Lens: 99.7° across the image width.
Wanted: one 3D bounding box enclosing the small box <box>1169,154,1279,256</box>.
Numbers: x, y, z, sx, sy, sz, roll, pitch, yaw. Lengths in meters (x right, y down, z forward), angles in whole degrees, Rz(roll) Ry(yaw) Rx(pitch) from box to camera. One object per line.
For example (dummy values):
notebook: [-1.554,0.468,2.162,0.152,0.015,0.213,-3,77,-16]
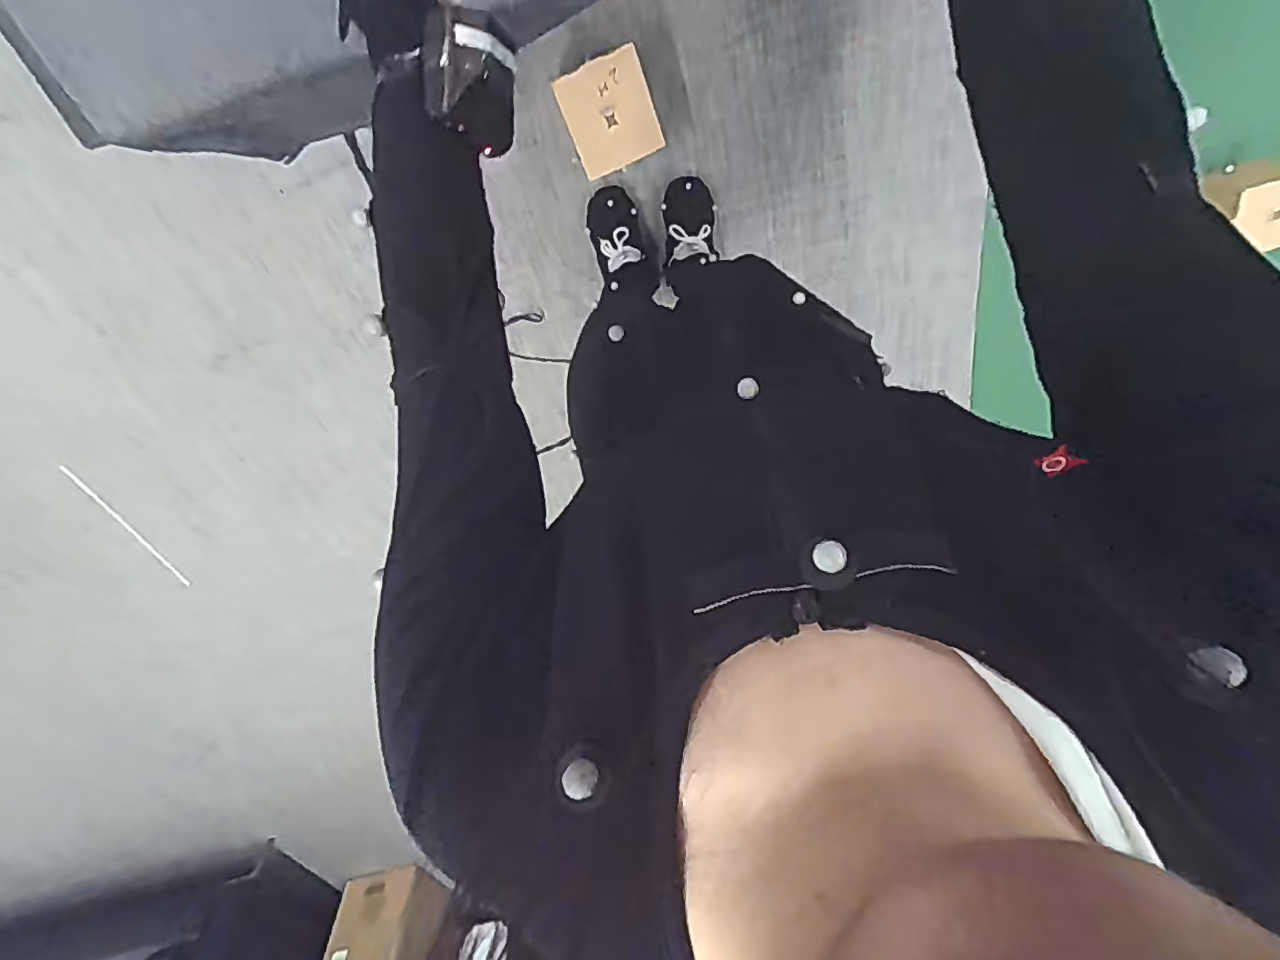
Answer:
small box: [1.428,-0.654,1.282,0.179,0.176,0.168,-15,124,6]
